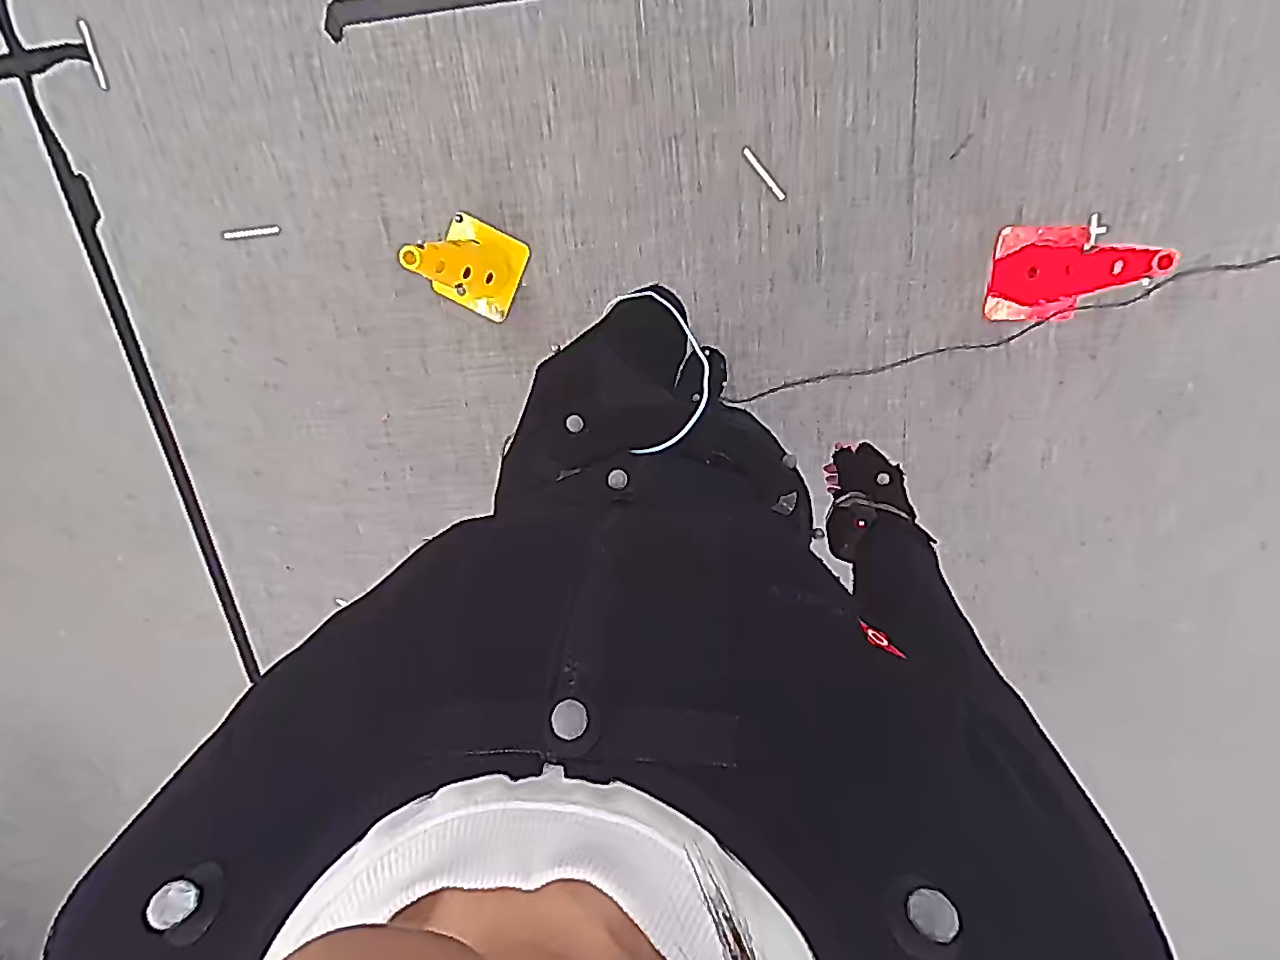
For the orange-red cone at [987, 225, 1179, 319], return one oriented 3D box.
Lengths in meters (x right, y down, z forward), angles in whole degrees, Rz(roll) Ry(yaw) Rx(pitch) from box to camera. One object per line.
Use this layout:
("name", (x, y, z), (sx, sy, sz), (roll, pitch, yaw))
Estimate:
("orange-red cone", (0.886, -0.419, 1.060), (0.199, 0.360, 0.198), (4, 107, 5))
